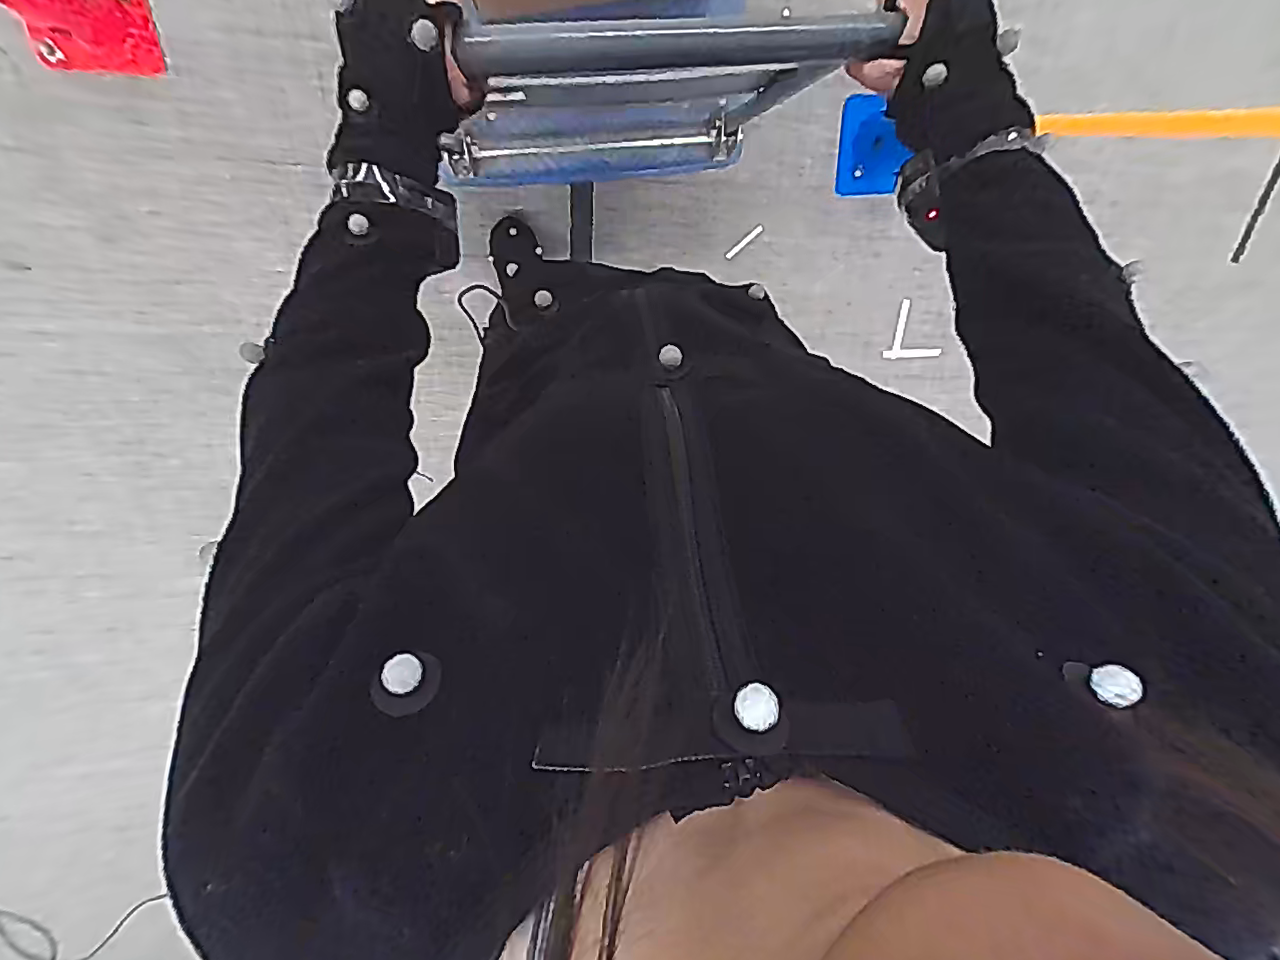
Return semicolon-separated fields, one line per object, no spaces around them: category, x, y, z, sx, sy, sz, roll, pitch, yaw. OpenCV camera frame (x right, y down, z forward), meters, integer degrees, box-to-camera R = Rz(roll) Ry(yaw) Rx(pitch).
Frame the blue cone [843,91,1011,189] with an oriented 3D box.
blue cone;0.585;-0.702;1.087;0.193;0.380;0.192;-6;116;-8
